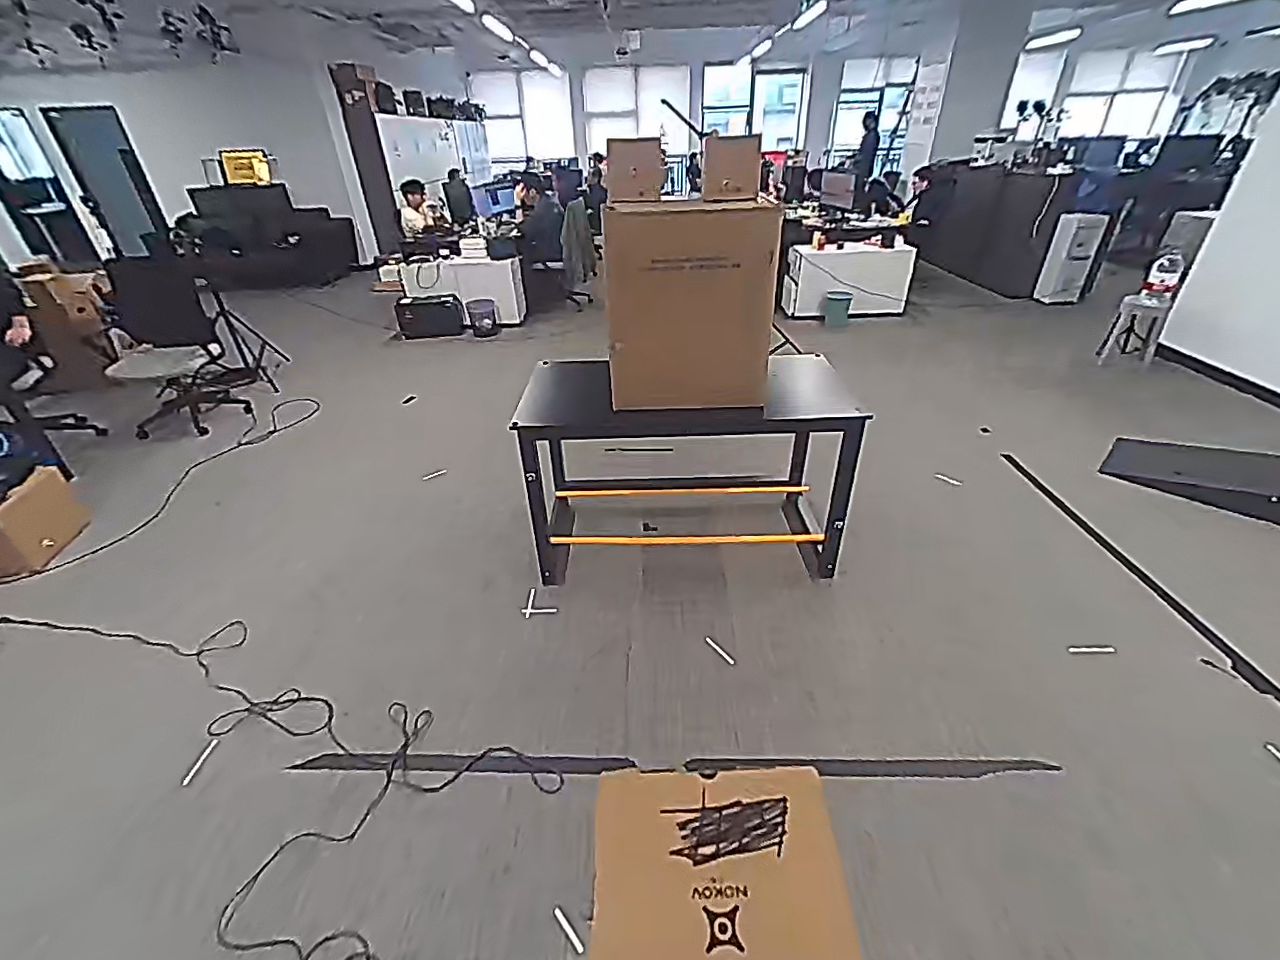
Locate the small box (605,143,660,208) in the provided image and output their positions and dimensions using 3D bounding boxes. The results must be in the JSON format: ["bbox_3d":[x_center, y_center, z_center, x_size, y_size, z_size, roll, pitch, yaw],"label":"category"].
[{"bbox_3d":[-0.021,-0.963,1.711,0.168,0.176,0.179,0,32,0],"label":"small box"}]

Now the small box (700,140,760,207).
[{"bbox_3d":[0.273,-0.946,1.671,0.168,0.176,0.179,-2,32,4],"label":"small box"}]

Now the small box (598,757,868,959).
[{"bbox_3d":[0.056,0.333,0.399,0.168,0.176,0.179,-2,38,0],"label":"small box"}]
